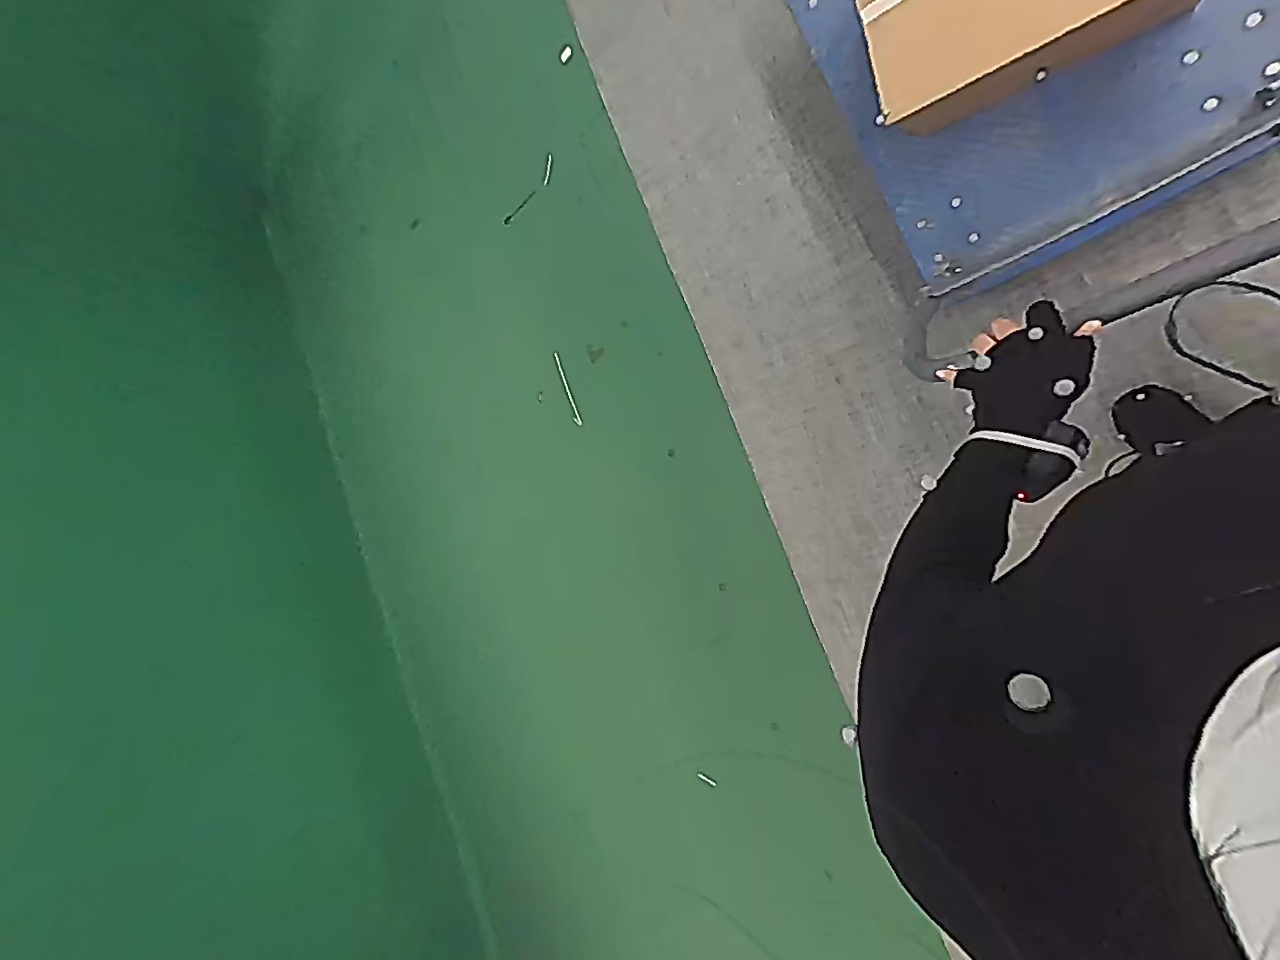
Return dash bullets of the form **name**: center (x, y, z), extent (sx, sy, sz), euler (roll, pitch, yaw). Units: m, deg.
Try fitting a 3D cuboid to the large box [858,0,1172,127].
- **large box**: center (0.579, -0.809, 0.823), extent (0.408, 0.320, 0.320), euler (-9, 108, 40)
